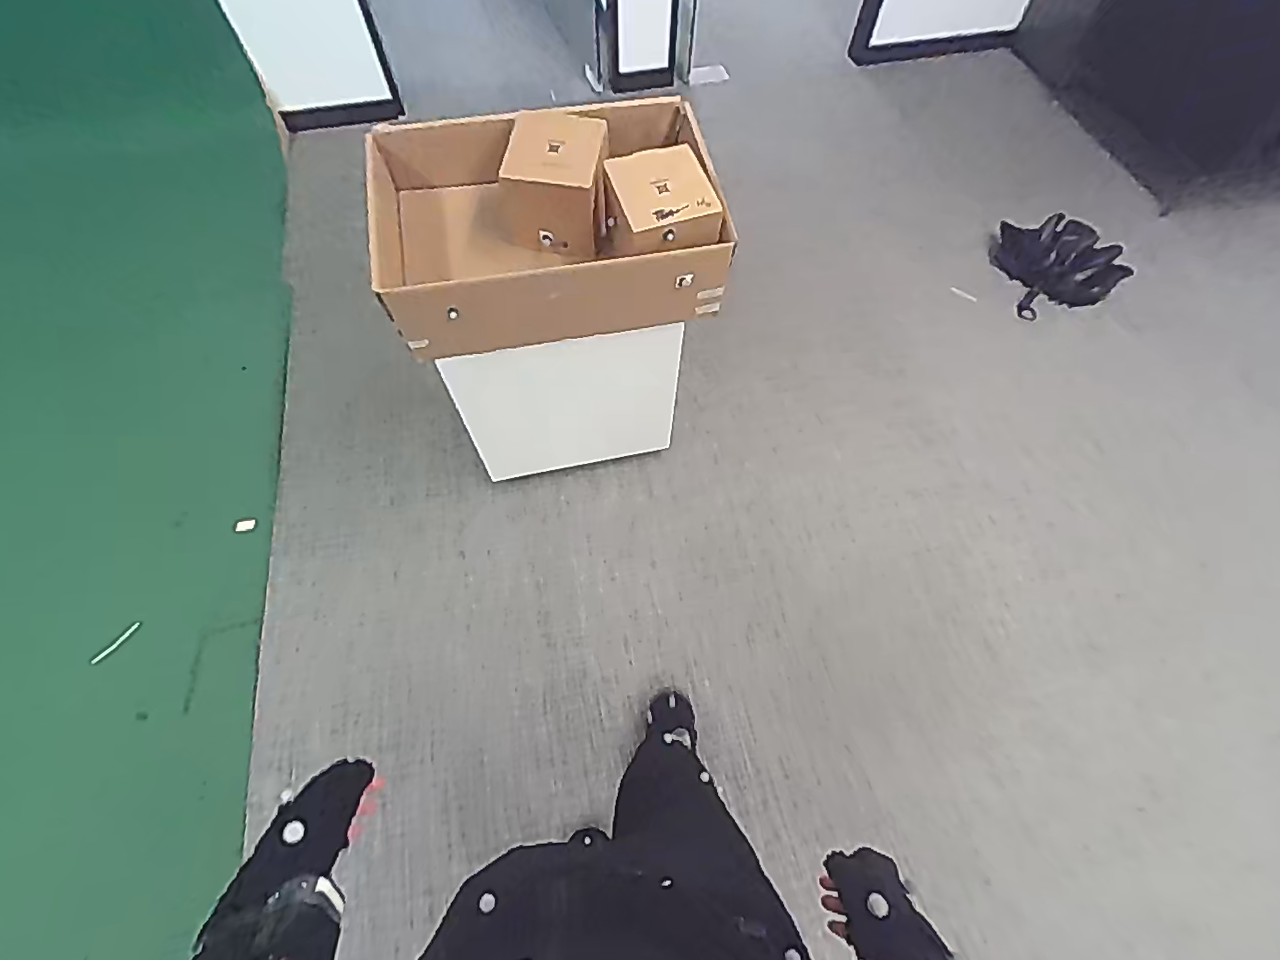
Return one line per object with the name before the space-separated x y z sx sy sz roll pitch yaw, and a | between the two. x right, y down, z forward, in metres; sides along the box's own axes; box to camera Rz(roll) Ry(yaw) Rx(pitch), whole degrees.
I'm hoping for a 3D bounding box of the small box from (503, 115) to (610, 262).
small box | -0.151 -0.558 1.046 0.168 0.176 0.179 8 69 2
